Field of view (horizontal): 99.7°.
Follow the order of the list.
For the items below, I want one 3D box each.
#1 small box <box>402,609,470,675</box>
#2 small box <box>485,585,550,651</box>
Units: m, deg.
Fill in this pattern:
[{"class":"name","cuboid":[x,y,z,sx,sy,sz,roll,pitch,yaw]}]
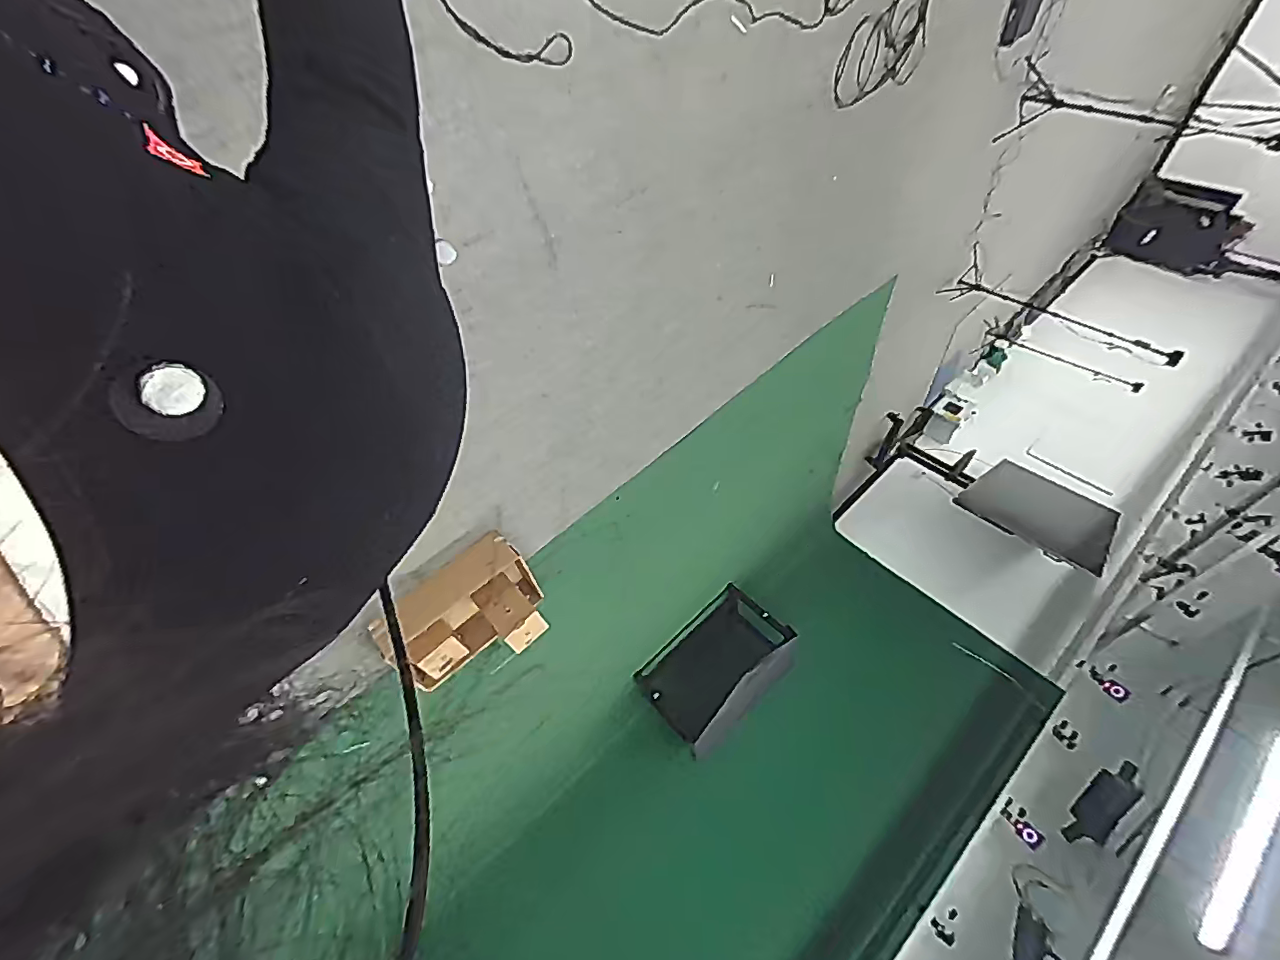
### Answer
[{"class":"small box","cuboid":[-0.832,0.657,2.206,0.168,0.176,0.179,-40,145,-19]},{"class":"small box","cuboid":[-0.503,0.557,2.210,0.168,0.176,0.179,-40,146,-18]}]
